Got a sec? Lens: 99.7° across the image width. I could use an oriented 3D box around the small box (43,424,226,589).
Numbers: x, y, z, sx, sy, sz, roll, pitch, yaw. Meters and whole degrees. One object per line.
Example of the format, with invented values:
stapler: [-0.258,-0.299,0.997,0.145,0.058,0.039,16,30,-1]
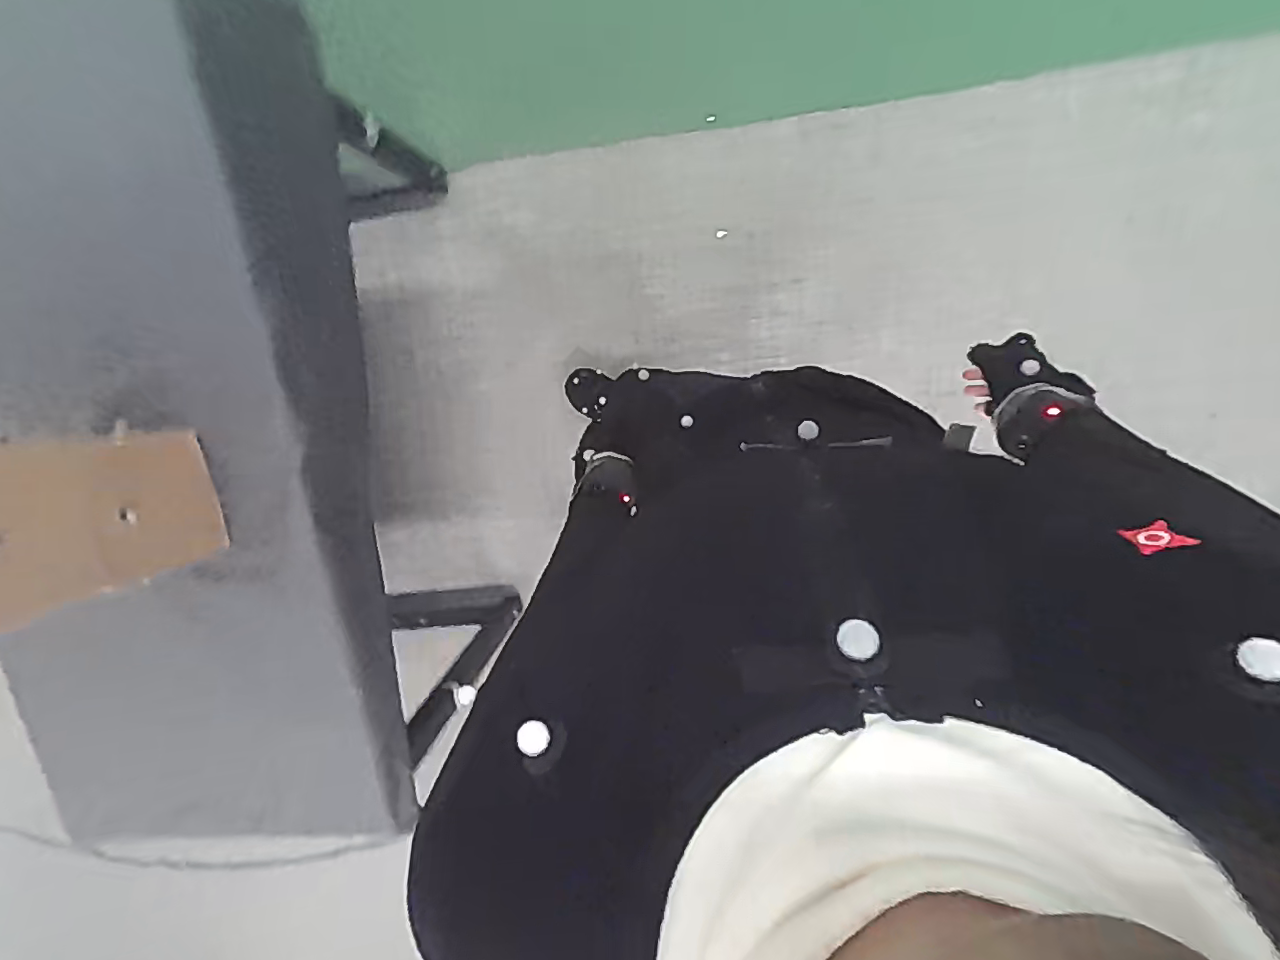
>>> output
small box: [-0.689,0.031,0.701,0.168,0.176,0.179,-6,101,7]
